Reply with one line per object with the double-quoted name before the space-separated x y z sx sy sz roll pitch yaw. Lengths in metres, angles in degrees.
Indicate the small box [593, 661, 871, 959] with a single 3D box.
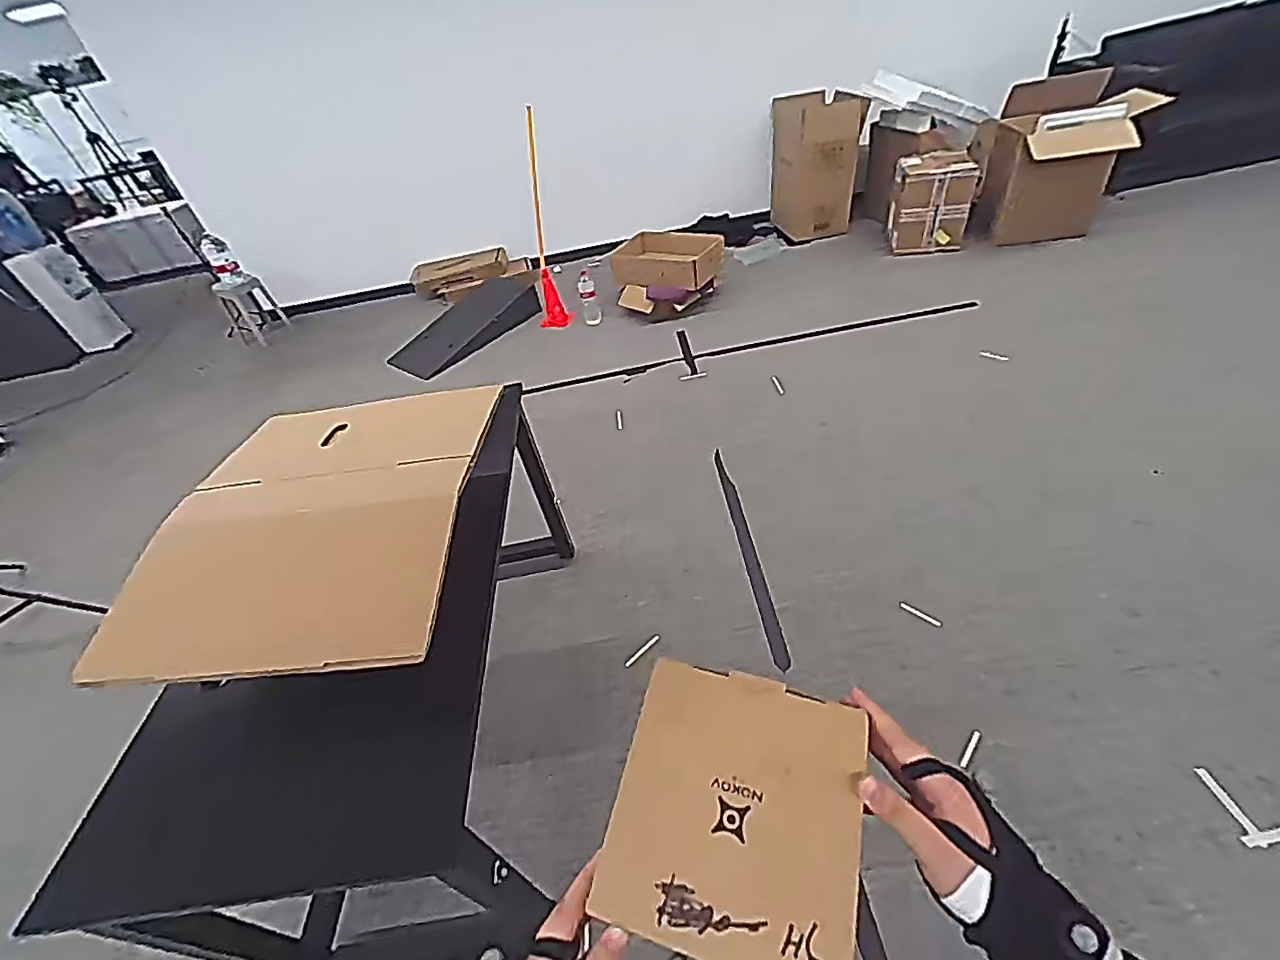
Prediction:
"small box" 0.081 0.277 0.441 0.168 0.176 0.179 9 56 18
